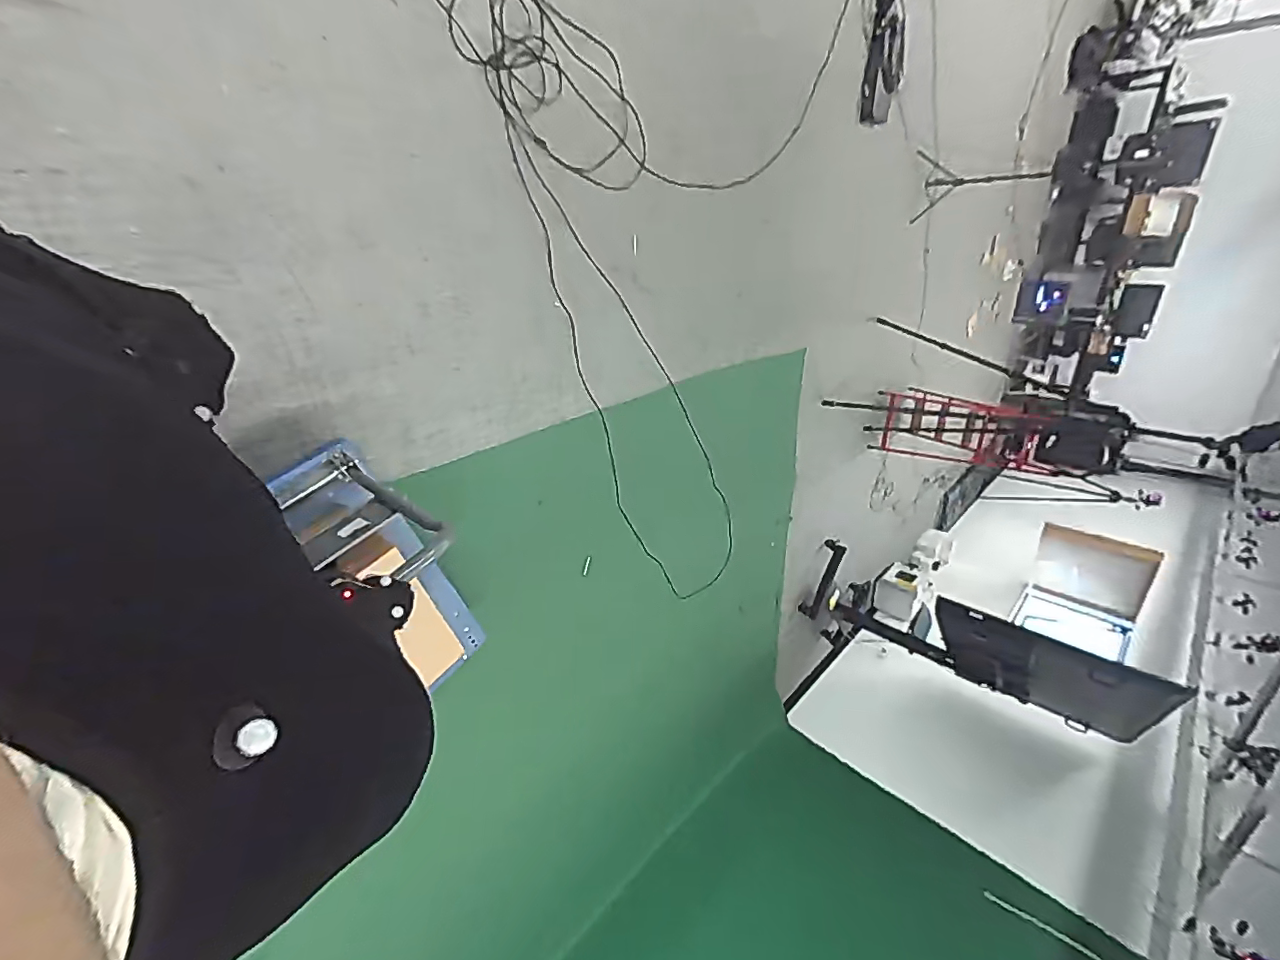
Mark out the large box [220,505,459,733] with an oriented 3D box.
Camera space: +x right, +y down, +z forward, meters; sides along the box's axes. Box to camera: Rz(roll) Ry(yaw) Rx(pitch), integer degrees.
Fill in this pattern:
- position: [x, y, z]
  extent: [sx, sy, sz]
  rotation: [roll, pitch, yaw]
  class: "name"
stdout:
- position: [-0.738, 0.337, 1.362]
  extent: [0.320, 0.320, 0.408]
  rotation: [-40, 133, -30]
  class: "large box"
